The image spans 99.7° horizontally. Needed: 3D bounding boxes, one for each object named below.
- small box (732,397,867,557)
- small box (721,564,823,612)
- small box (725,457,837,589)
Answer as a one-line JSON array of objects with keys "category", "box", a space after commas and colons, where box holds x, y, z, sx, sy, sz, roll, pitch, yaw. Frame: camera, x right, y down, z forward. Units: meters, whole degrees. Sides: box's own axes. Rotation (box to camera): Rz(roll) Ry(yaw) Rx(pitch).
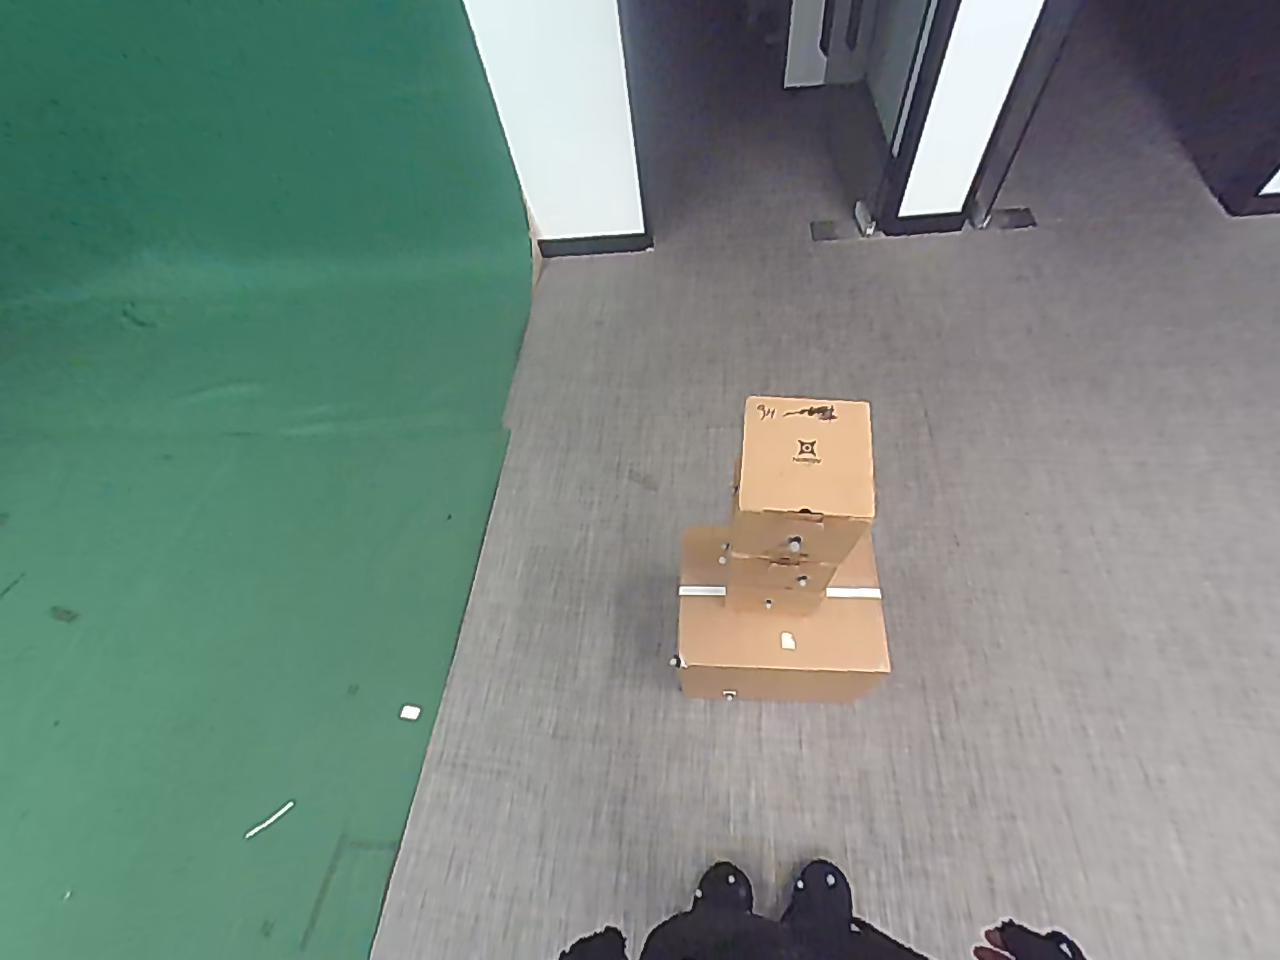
[{"category": "small box", "box": [0.224, 0.001, 0.784, 0.168, 0.176, 0.179, 5, 65, 9]}, {"category": "small box", "box": [0.258, 0.154, 1.065, 0.179, 0.176, 0.168, 6, 63, 11]}, {"category": "small box", "box": [0.234, 0.079, 0.927, 0.168, 0.176, 0.179, 3, 63, 8]}]
